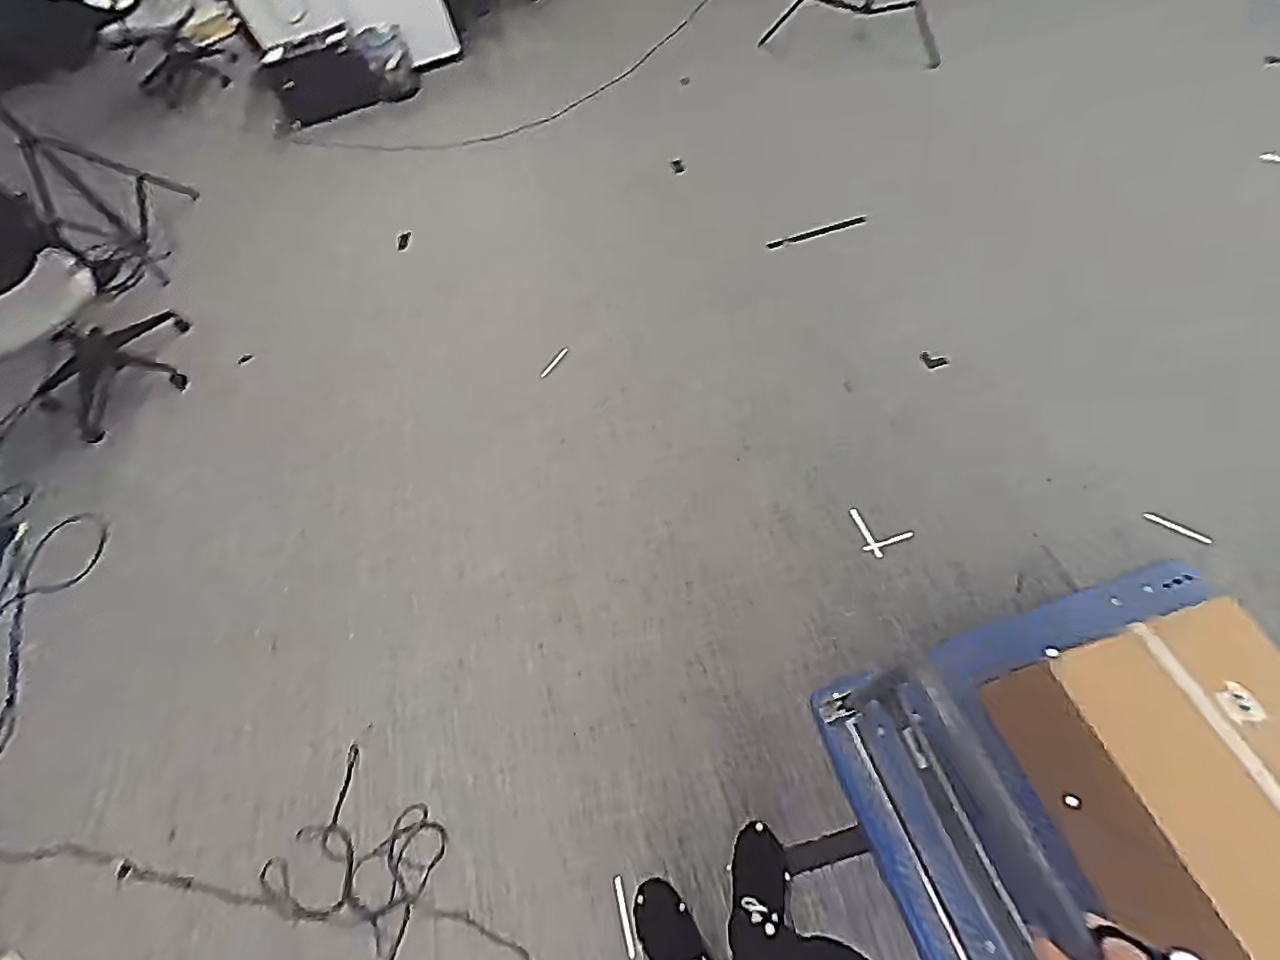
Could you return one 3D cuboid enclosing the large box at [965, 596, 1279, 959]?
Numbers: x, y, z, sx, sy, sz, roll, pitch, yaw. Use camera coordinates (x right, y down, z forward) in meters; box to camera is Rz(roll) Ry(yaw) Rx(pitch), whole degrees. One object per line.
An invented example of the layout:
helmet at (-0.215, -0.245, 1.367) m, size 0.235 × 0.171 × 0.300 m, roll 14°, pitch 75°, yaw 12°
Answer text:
large box at (0.851, 0.473, 0.905) m, size 0.320 × 0.320 × 0.408 m, roll -19°, pitch 58°, yaw -2°
